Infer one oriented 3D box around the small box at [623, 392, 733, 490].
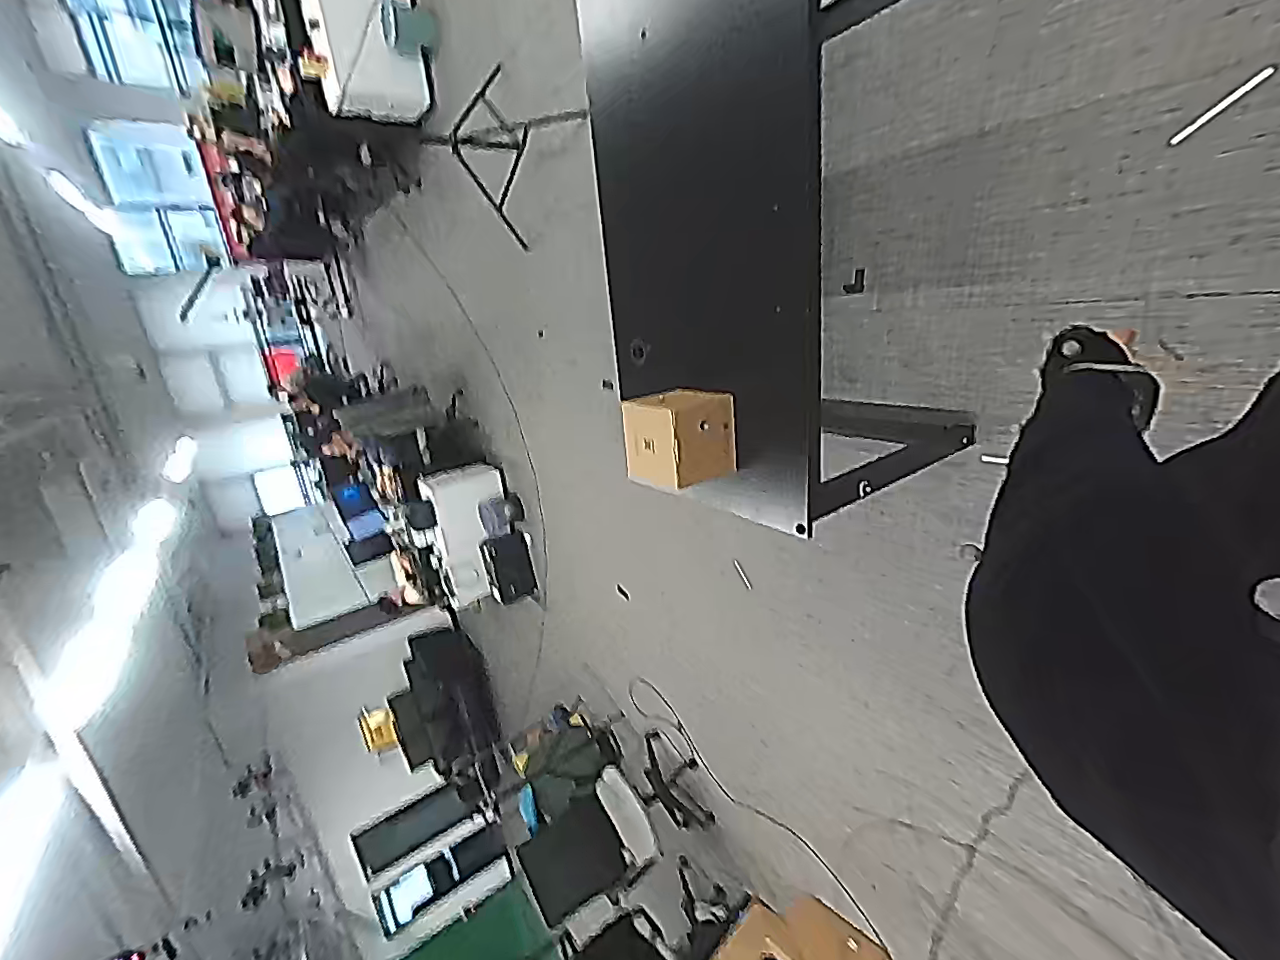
[{"bbox_3d":[0.087,-0.092,1.159,0.179,0.176,0.168,18,119,53],"label":"small box"}]
